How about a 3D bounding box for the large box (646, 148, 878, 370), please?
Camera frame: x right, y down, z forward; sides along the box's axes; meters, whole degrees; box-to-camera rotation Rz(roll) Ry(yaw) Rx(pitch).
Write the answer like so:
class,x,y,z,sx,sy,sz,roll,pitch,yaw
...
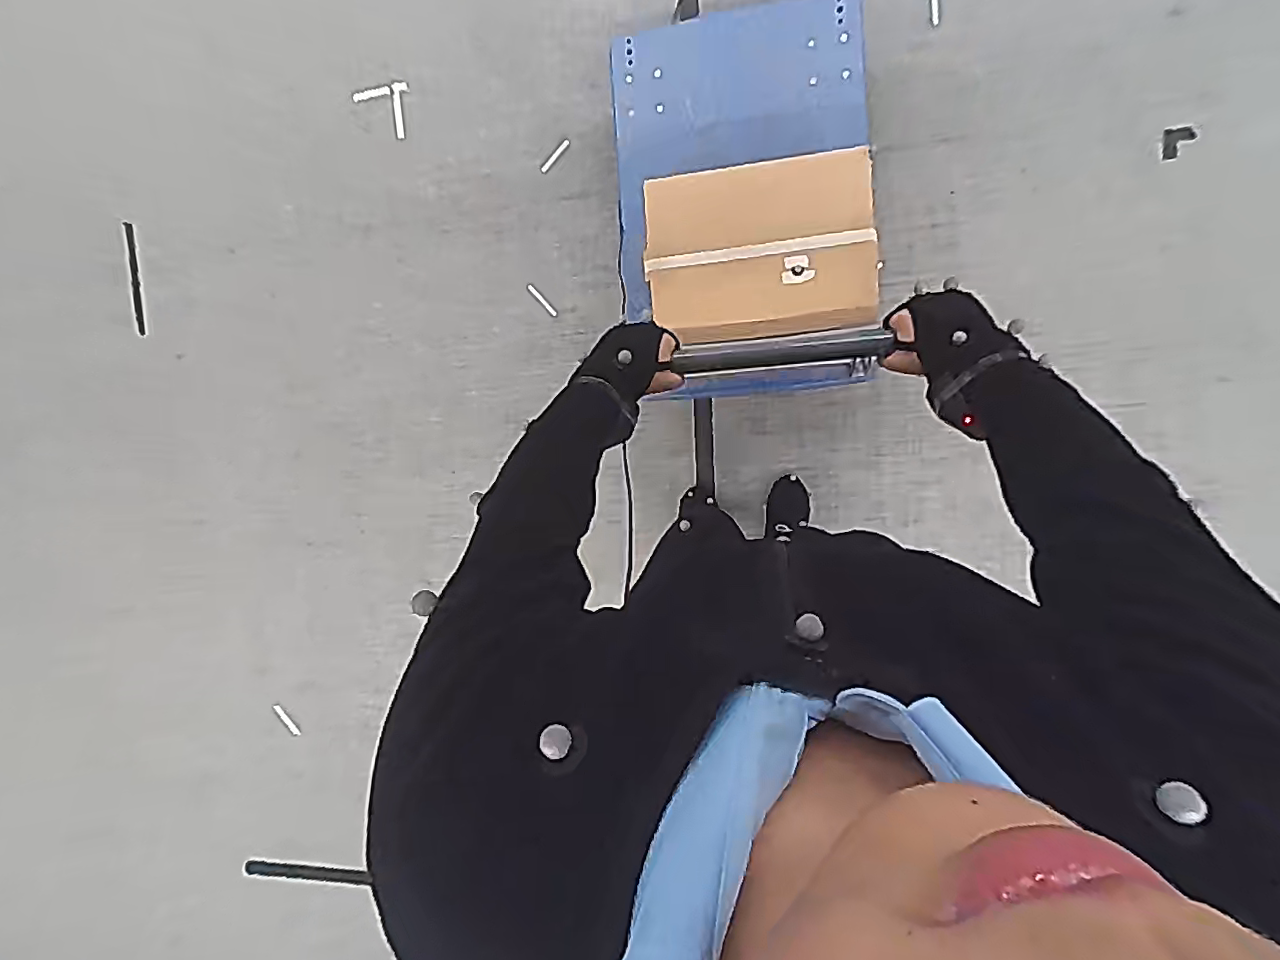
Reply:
class,x,y,z,sx,sy,sz,roll,pitch,yaw
large box,0.241,-0.429,1.145,0.408,0.320,0.320,-4,93,9
